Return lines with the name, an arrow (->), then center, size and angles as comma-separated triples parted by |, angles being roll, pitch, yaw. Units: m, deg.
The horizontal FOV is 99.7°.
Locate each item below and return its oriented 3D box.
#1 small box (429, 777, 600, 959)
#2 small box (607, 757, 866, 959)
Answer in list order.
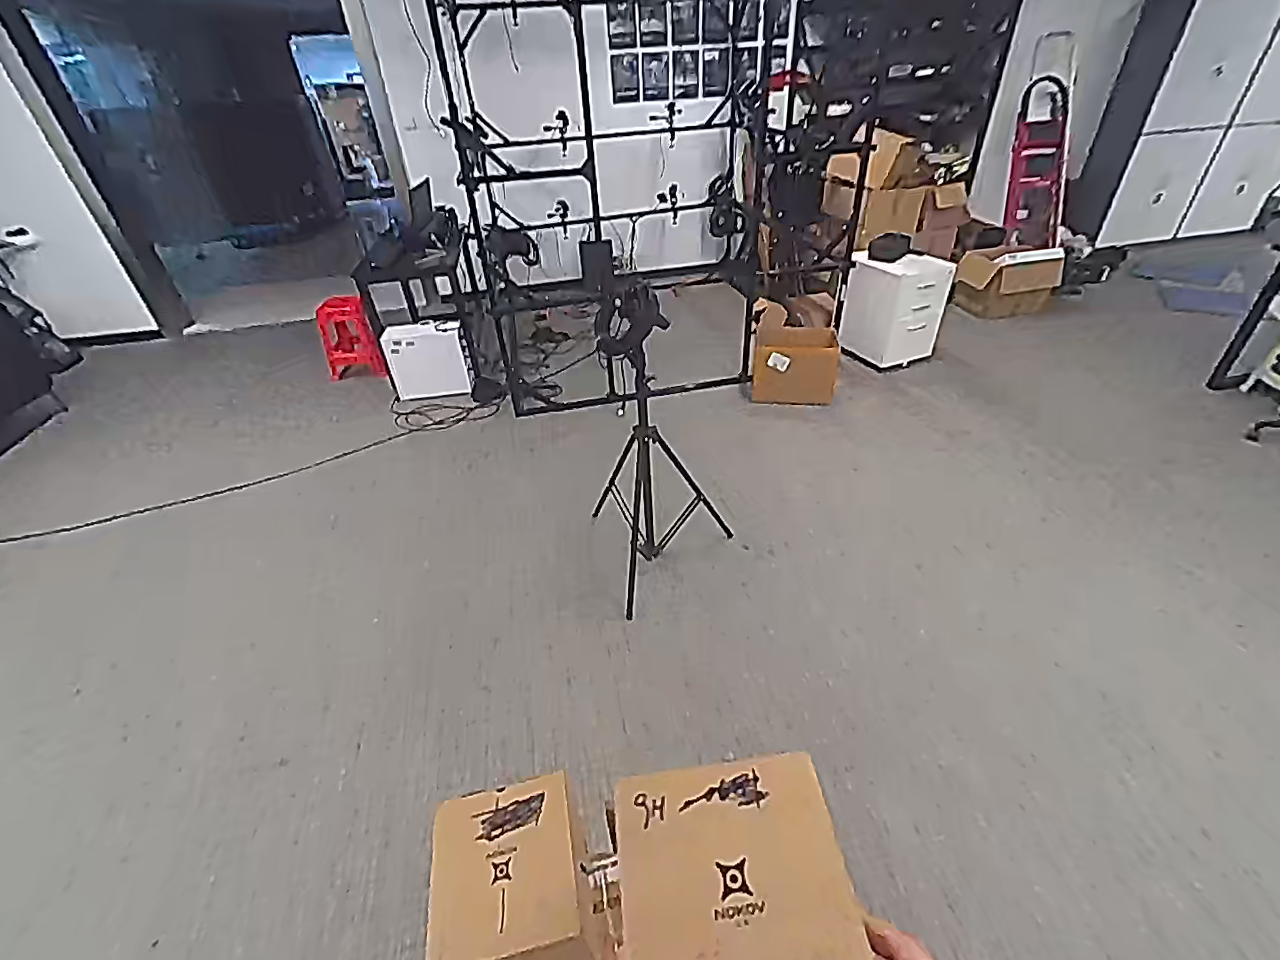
small box -> -0.149, 0.513, 0.674 | 0.168, 0.176, 0.179 | -11, 39, -7
small box -> 0.070, 0.348, 0.434 | 0.168, 0.176, 0.179 | -8, 48, -1
